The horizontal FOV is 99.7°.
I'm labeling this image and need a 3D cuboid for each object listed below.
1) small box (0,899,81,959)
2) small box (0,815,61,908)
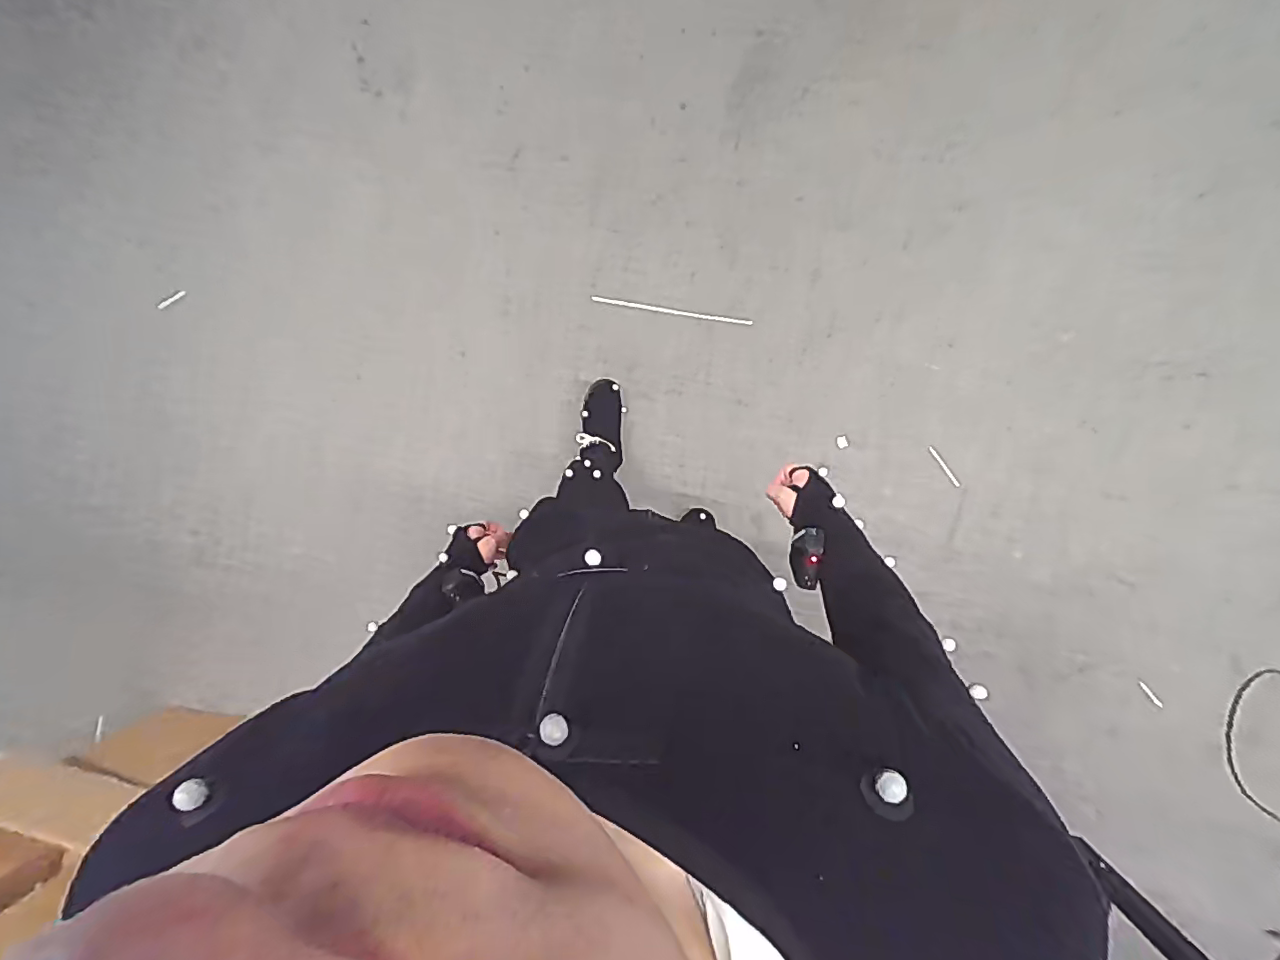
[{"bbox_3d":[-1.285,0.989,1.075,0.179,0.176,0.168,14,93,3],"label":"small box"},{"bbox_3d":[-1.523,0.916,1.250,0.179,0.176,0.168,13,94,1],"label":"small box"}]
